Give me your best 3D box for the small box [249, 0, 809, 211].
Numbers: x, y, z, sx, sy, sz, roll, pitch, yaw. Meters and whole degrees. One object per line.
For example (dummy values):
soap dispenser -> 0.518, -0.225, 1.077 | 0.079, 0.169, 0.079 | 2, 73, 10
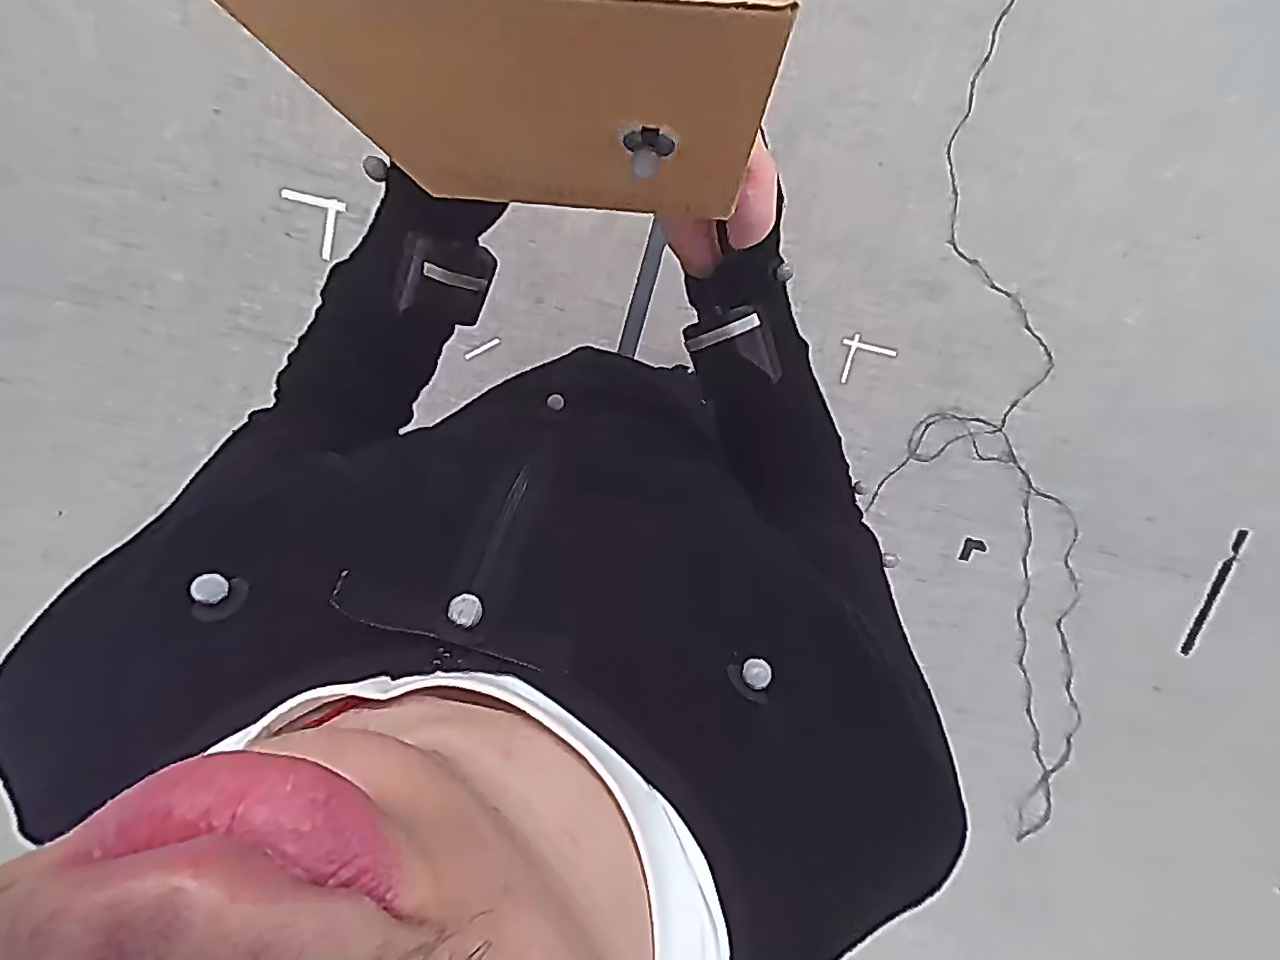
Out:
small box -> -0.027, -0.230, 0.226 | 0.179, 0.176, 0.168 | 5, 97, 3
